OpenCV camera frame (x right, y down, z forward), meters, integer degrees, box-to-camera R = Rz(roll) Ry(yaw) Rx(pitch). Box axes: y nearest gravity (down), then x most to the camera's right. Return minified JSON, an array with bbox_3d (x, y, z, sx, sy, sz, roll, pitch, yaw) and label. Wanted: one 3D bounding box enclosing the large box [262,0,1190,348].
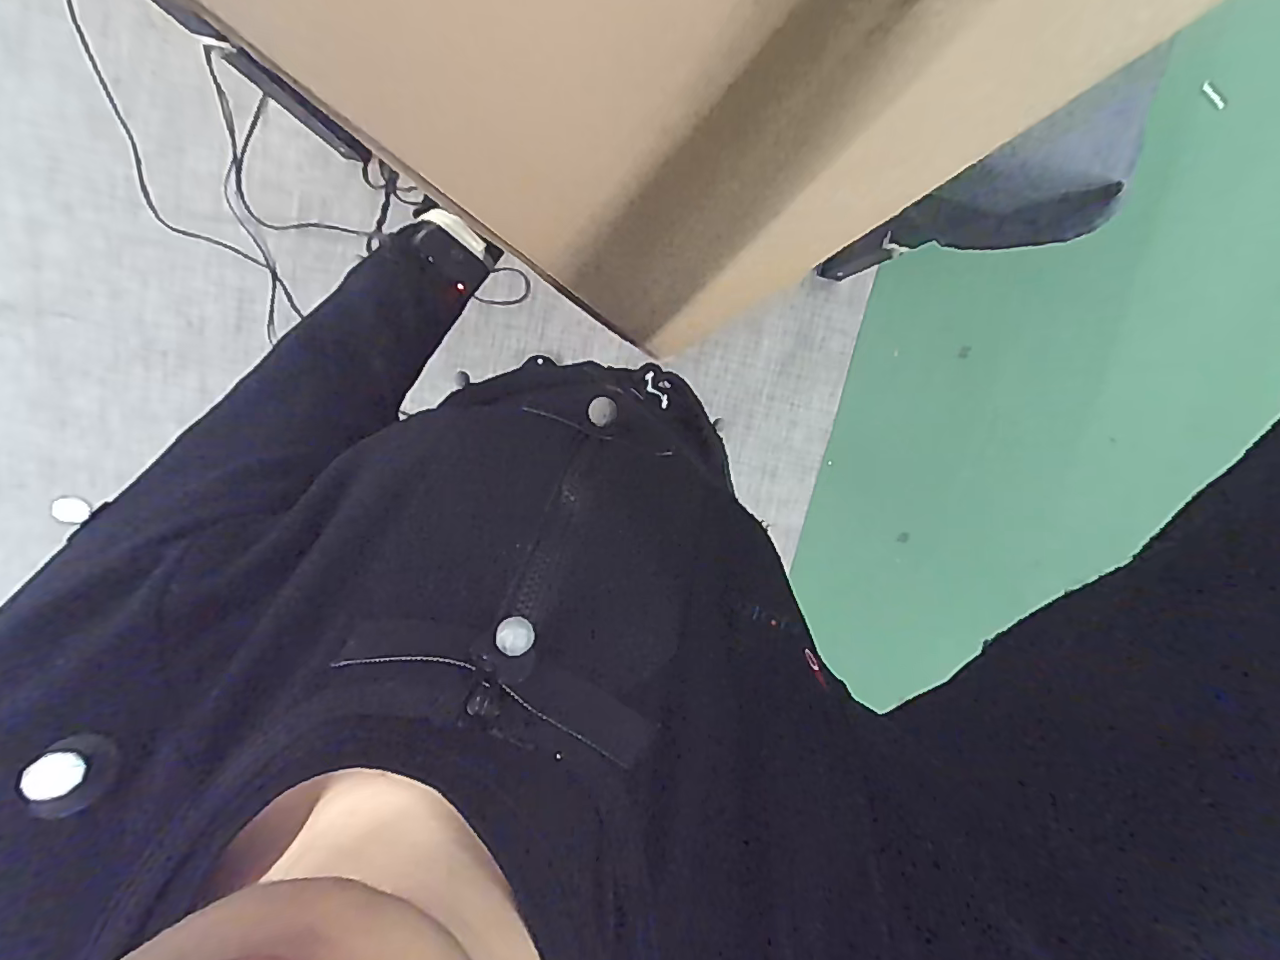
[{"bbox_3d":[0.065,-0.338,0.257,0.408,0.320,0.320,-32,68,22],"label":"large box"}]
